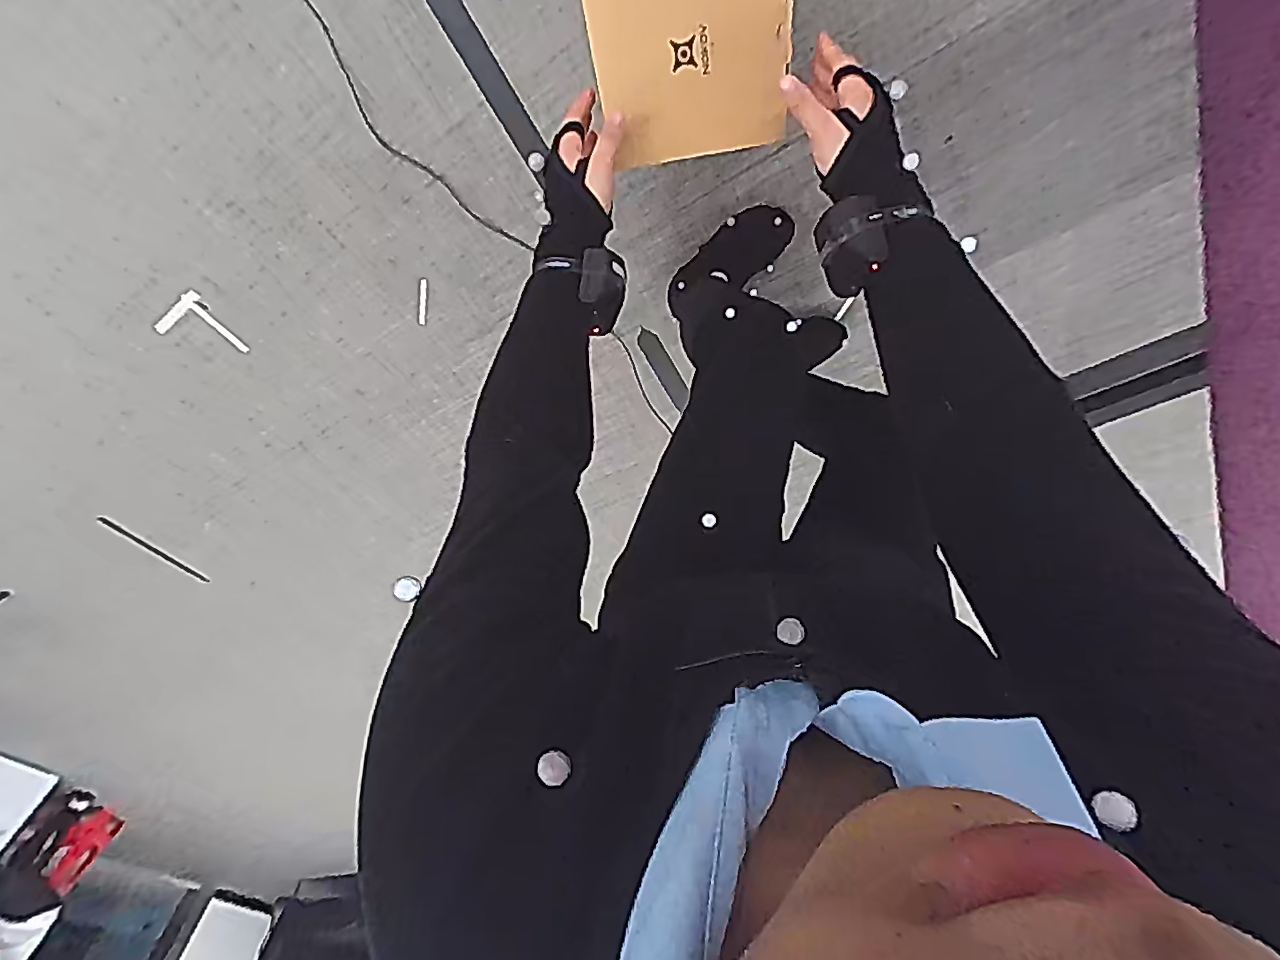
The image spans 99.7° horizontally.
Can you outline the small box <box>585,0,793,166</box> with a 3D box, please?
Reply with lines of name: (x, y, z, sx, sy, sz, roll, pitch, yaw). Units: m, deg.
small box: (0.053, -0.436, 0.536, 0.179, 0.176, 0.168, -5, 132, 11)
